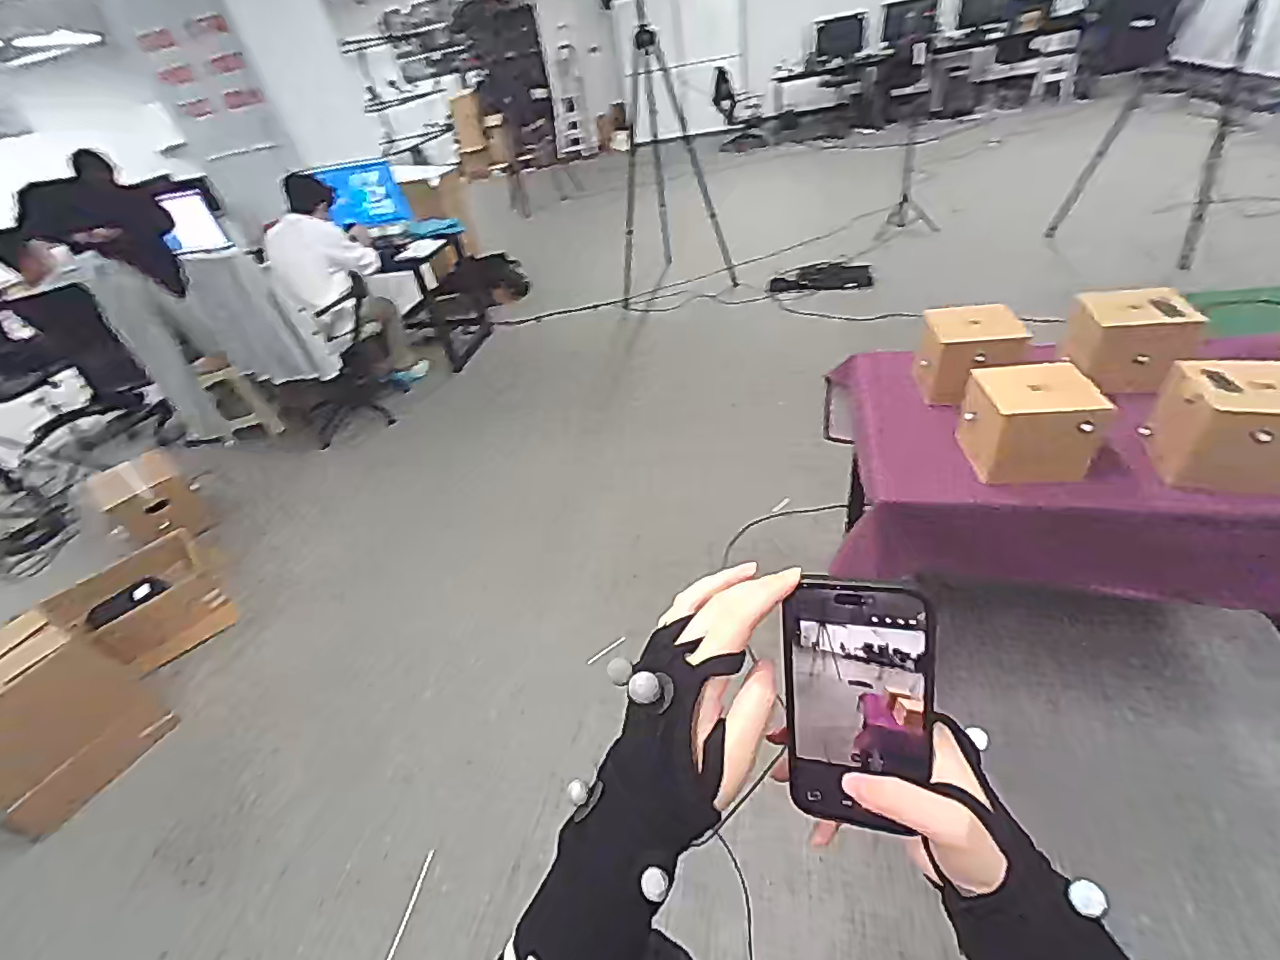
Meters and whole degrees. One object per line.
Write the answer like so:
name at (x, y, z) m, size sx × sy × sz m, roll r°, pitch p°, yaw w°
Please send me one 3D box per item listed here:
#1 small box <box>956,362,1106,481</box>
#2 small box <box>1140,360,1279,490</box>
small box at (0.742, -0.111, 1.056) m, size 0.179 × 0.176 × 0.168 m, roll -2°, pitch 40°, yaw 10°
small box at (1.041, -0.099, 0.962) m, size 0.179 × 0.176 × 0.168 m, roll 6°, pitch 43°, yaw 19°
